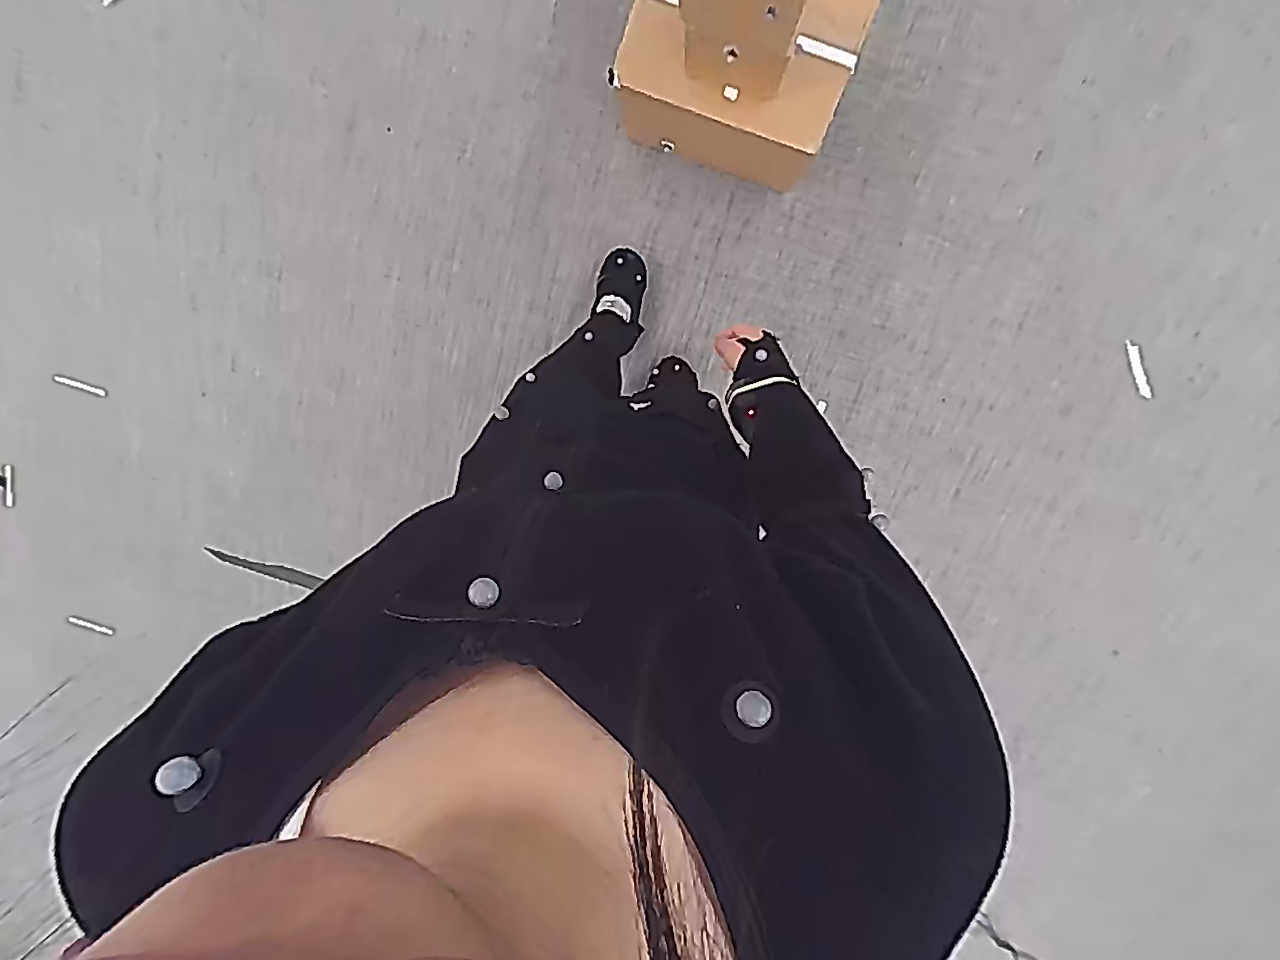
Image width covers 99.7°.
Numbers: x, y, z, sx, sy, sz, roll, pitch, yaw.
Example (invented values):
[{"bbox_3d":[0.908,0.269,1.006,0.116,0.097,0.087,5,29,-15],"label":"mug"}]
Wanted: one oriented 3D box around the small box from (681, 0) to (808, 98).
[{"bbox_3d":[0.174,-0.762,0.881,0.179,0.176,0.168,17,107,-1],"label":"small box"}]
